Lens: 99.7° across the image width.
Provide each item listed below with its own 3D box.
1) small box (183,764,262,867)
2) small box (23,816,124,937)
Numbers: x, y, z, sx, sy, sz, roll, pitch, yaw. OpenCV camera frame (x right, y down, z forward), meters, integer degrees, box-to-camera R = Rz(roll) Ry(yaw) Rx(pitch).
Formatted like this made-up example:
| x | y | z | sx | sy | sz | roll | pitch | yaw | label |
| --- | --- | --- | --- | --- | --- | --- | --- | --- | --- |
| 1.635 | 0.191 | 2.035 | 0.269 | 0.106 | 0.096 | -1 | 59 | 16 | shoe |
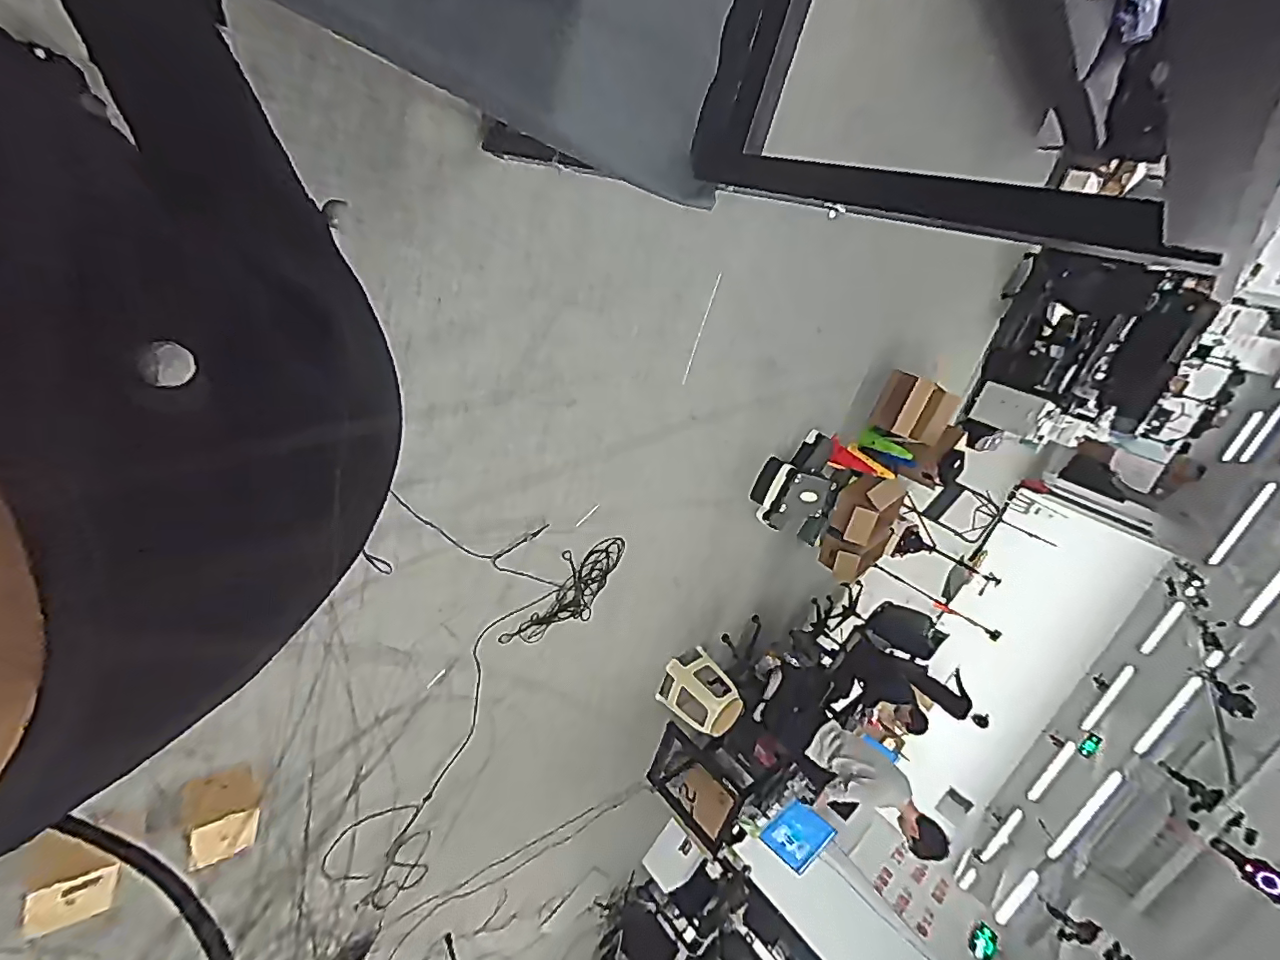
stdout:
| x | y | z | sx | sy | sz | roll | pitch | yaw | label |
| --- | --- | --- | --- | --- | --- | --- | --- | --- | --- |
| -1.288 | 1.024 | 1.663 | 0.168 | 0.176 | 0.179 | -1 | 117 | -47 | small box |
| -1.504 | 1.033 | 1.434 | 0.168 | 0.176 | 0.179 | 8 | 112 | -49 | small box |
